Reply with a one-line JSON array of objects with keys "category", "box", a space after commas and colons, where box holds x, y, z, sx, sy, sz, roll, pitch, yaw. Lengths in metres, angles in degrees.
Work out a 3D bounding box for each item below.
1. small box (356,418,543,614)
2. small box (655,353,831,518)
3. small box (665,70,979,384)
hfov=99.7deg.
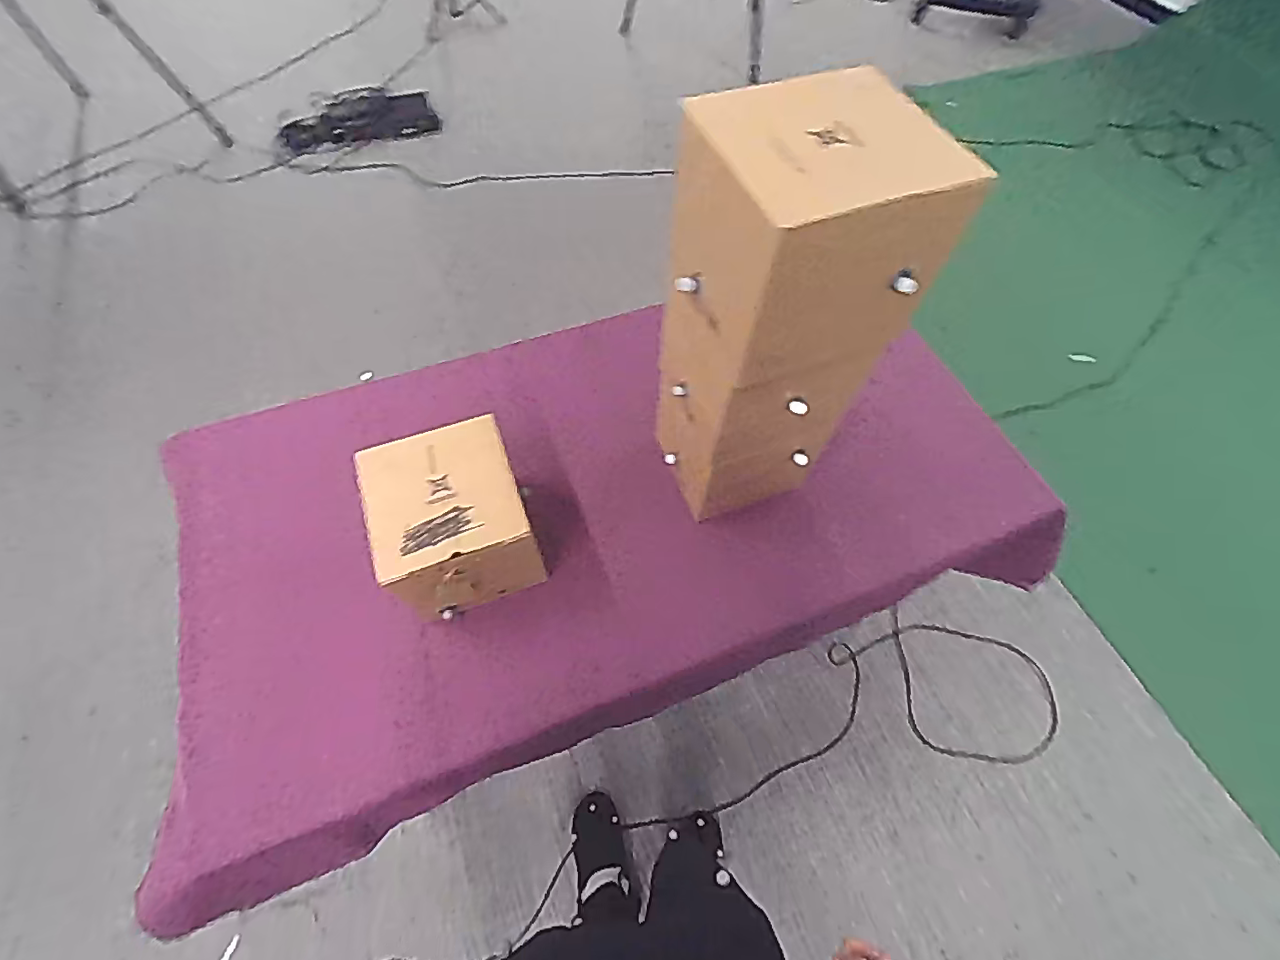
[{"category": "small box", "box": [-0.232, 0.056, 0.690, 0.168, 0.176, 0.179, -19, 63, -12]}, {"category": "small box", "box": [0.132, -0.070, 0.769, 0.179, 0.176, 0.168, -18, 63, -11]}, {"category": "small box", "box": [0.133, -0.213, 0.473, 0.179, 0.176, 0.168, -18, 63, -11]}]
